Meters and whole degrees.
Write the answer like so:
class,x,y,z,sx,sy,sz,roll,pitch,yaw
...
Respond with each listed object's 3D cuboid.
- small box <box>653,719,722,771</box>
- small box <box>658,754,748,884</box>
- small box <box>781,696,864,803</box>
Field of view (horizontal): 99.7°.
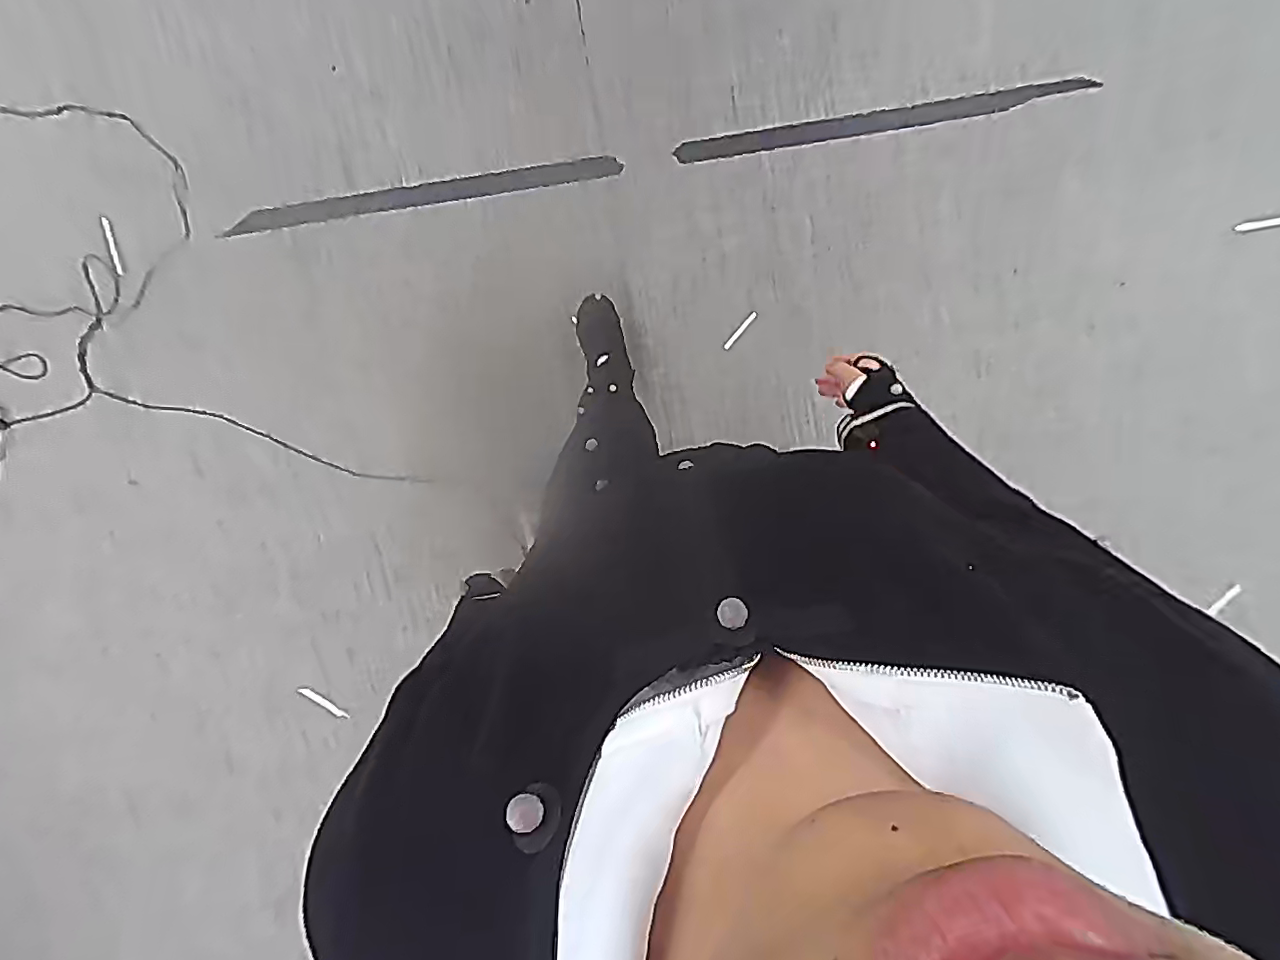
class,x,y,z,sx,sy,sz,roll,pitch,yaw
small box,0.131,0.754,1.420,0.168,0.176,0.179,-11,99,0
small box,0.141,0.780,1.258,0.168,0.176,0.179,-14,99,1
small box,0.475,0.694,1.406,0.168,0.176,0.179,-10,100,2
